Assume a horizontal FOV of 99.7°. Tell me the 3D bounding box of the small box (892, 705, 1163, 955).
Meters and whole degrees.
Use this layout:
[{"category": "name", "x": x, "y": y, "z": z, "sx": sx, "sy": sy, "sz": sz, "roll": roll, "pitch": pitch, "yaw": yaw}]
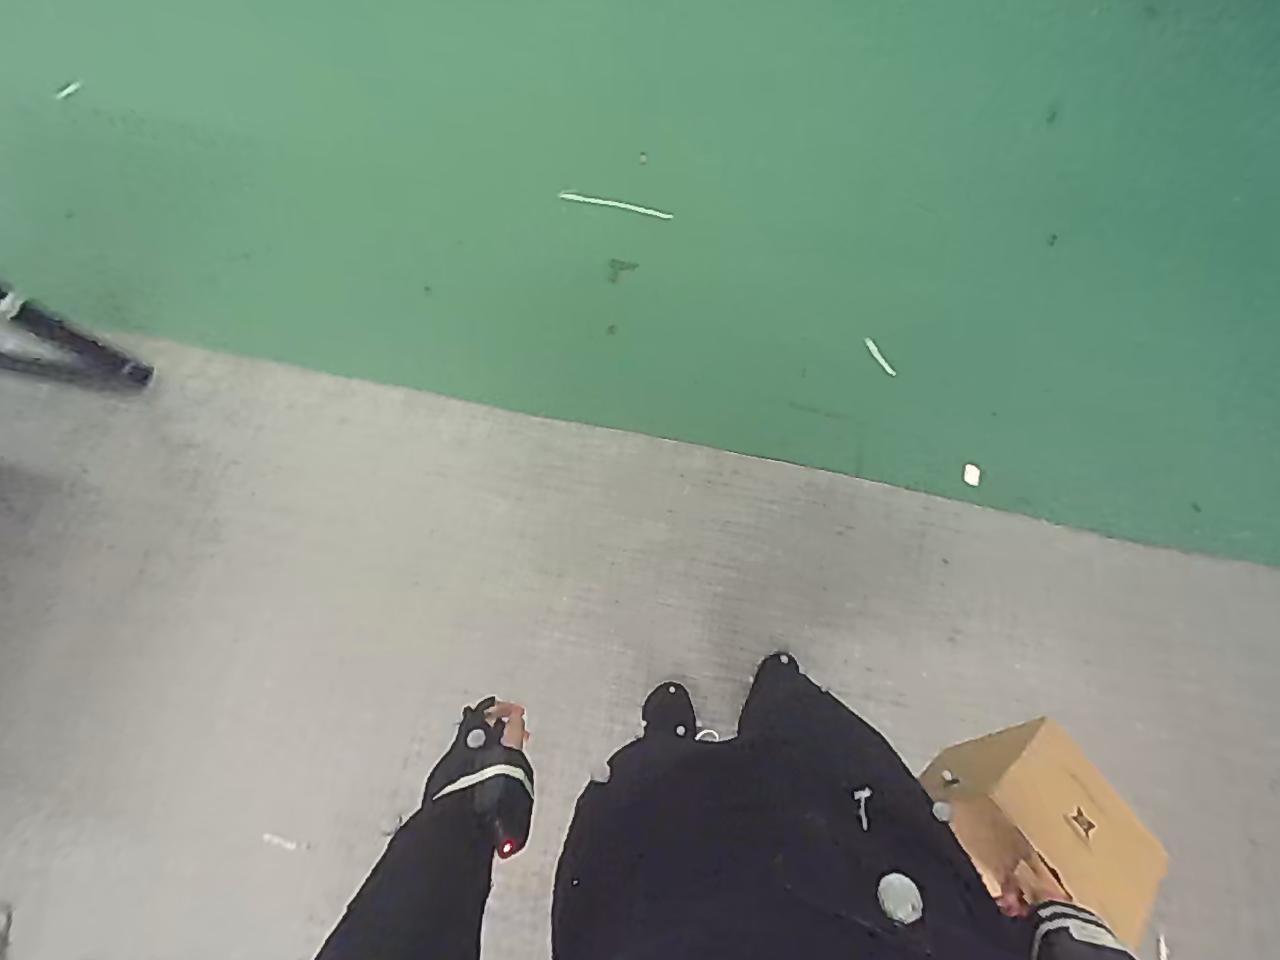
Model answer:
[{"category": "small box", "x": 0.429, "y": 0.398, "z": 0.623, "sx": 0.179, "sy": 0.176, "sz": 0.168, "roll": -16, "pitch": 62, "yaw": -37}]
